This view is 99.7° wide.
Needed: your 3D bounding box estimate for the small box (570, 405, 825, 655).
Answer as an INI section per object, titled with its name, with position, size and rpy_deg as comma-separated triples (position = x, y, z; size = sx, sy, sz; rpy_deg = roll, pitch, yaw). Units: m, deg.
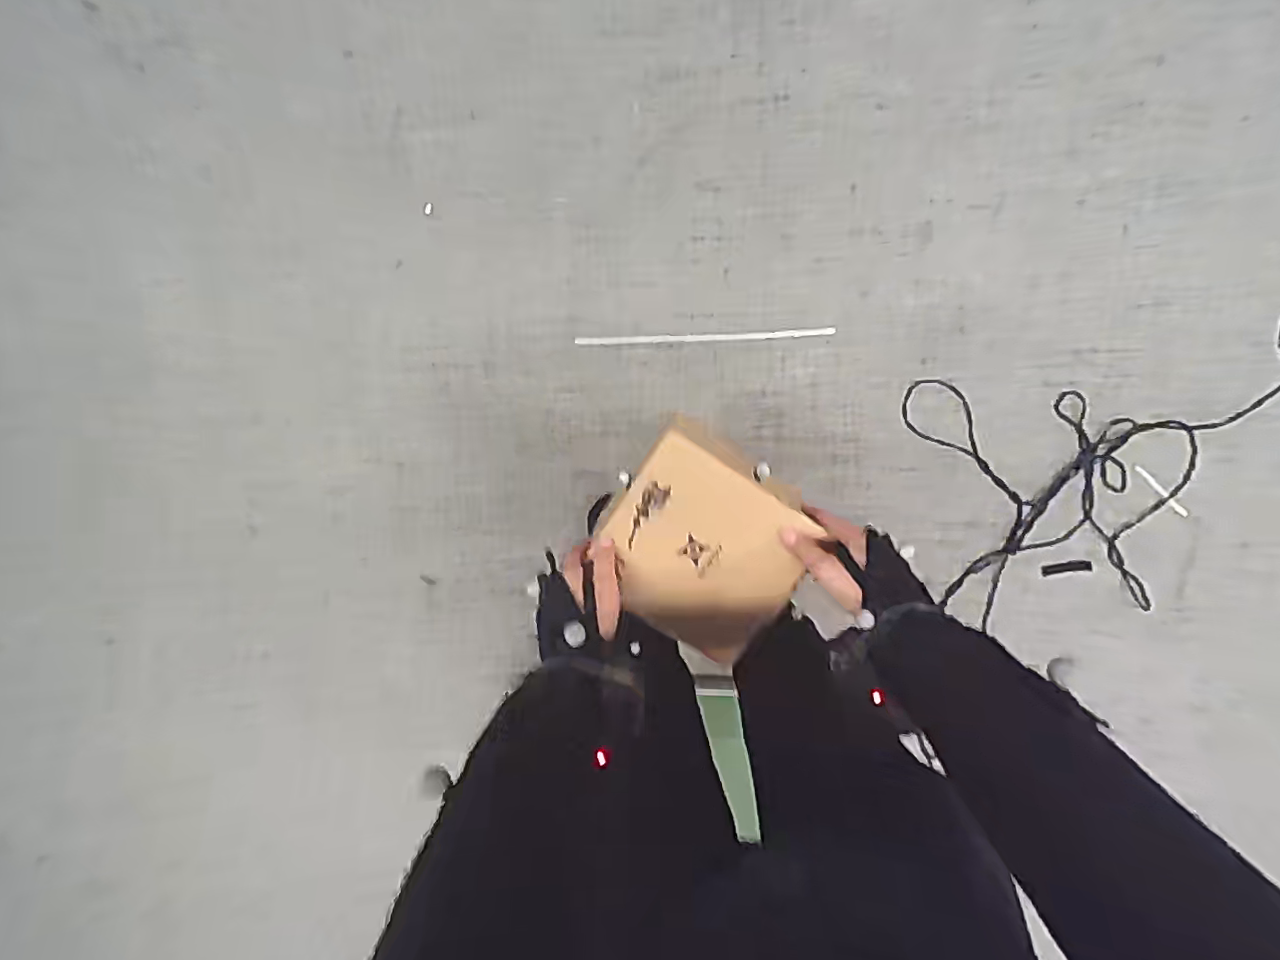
[small box]
position = 0.054, 0.037, 0.564
size = 0.179, 0.176, 0.168
rpy_deg = 33, 104, -6
